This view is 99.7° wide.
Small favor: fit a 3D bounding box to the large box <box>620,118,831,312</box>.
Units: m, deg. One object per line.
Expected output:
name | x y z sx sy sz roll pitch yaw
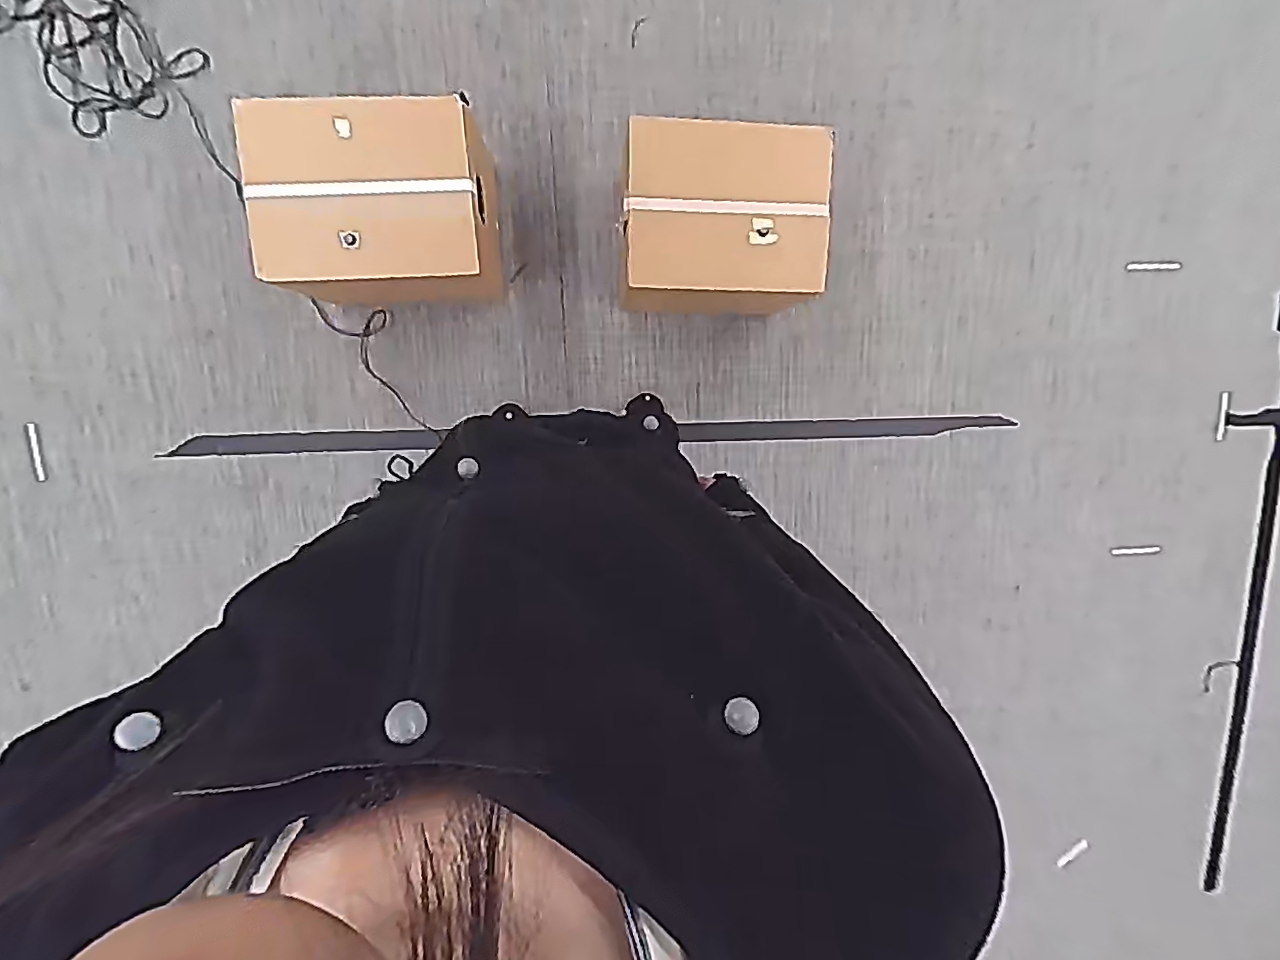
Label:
large box | 0.164 -0.561 1.216 0.408 0.320 0.320 0 99 -6
